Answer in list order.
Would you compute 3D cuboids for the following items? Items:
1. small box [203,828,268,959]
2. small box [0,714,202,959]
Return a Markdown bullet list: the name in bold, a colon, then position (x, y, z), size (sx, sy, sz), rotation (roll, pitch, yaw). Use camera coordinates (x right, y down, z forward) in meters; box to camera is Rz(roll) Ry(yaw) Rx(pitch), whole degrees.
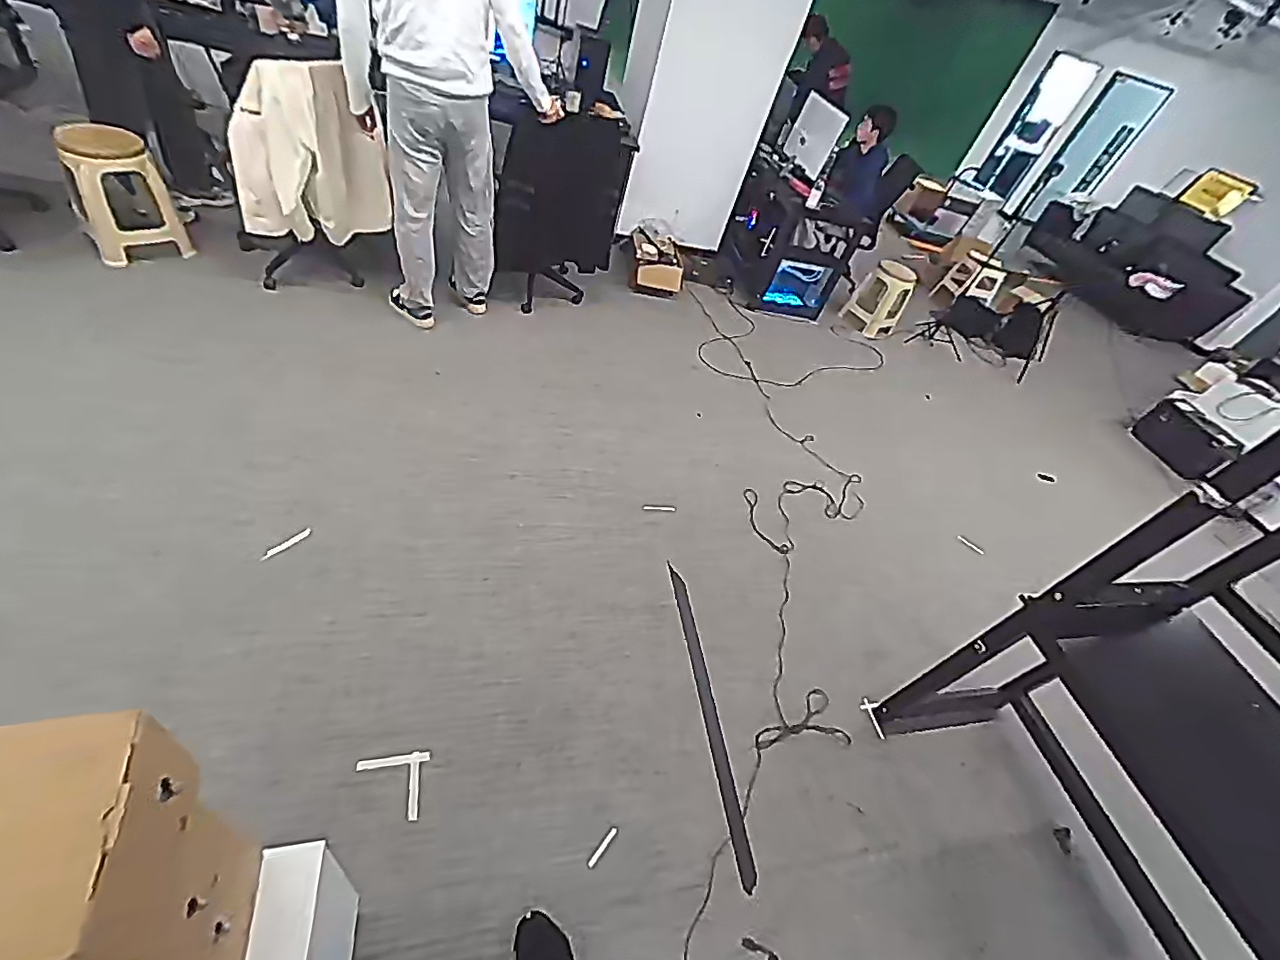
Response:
- **small box**: position (-0.574, 0.537, 0.636), size (0.179, 0.176, 0.168), rotation (1, 49, -19)
- **small box**: position (-0.480, 0.308, 0.420), size (0.179, 0.176, 0.168), rotation (-3, 49, -23)
